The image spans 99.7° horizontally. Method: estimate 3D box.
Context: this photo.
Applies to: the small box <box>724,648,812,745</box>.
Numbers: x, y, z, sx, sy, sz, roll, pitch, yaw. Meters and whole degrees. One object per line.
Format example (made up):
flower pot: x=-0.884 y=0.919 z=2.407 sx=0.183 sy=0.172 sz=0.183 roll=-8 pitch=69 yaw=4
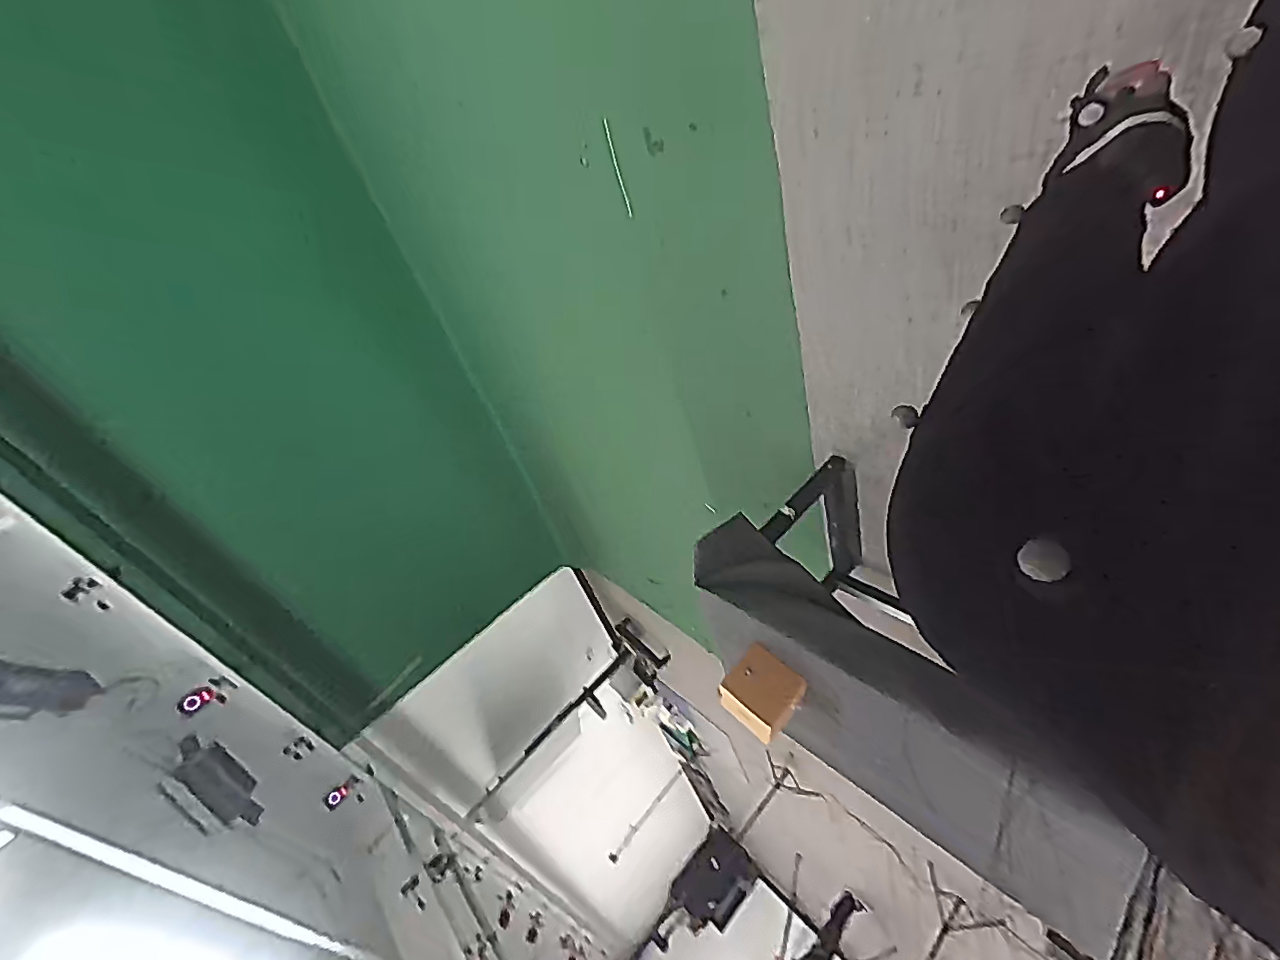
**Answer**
small box: x=0.359 y=0.604 z=1.532 sx=0.179 sy=0.176 sz=0.168 roll=32 pitch=151 yaw=32
